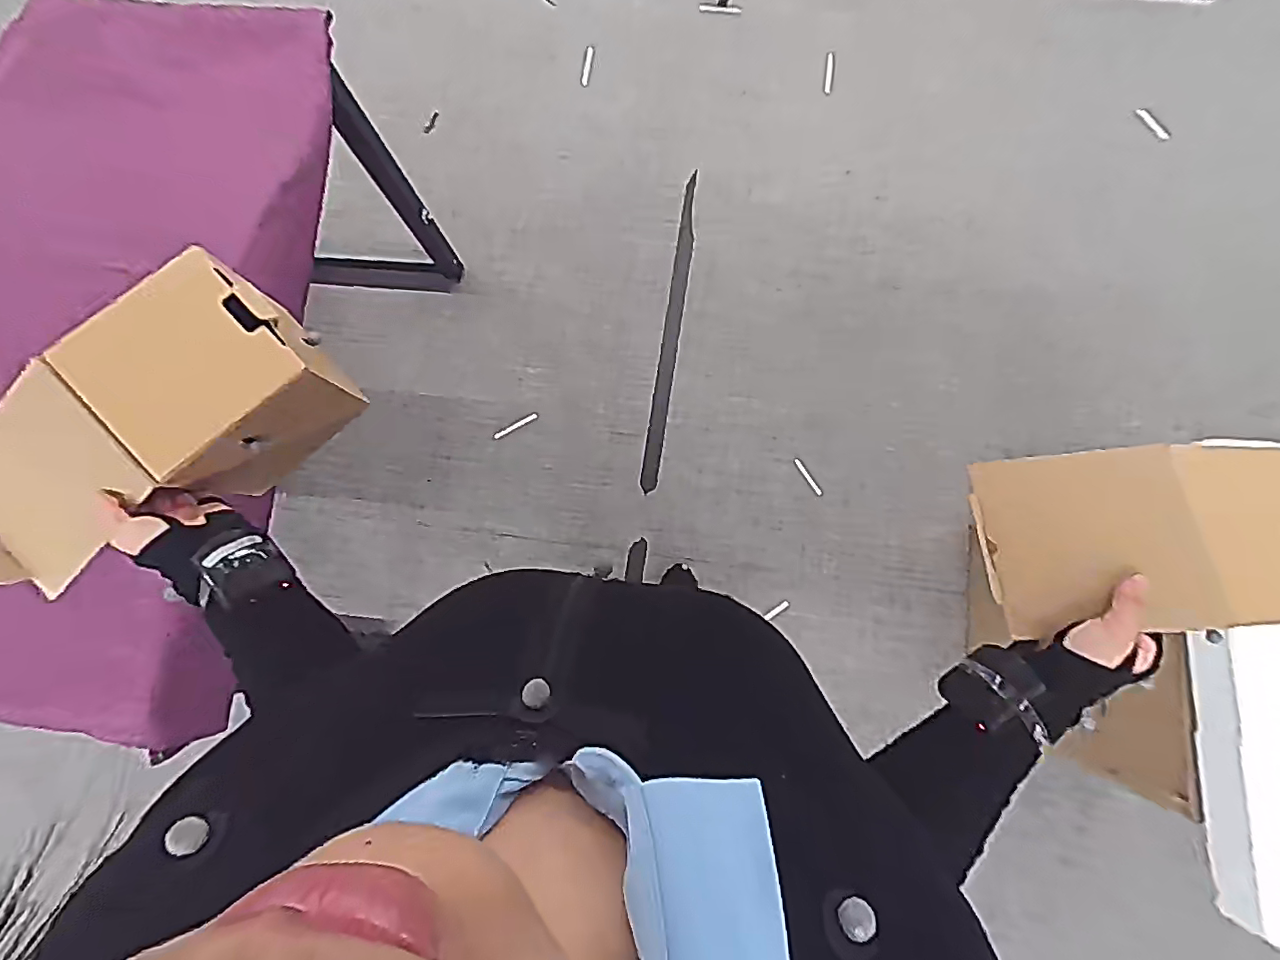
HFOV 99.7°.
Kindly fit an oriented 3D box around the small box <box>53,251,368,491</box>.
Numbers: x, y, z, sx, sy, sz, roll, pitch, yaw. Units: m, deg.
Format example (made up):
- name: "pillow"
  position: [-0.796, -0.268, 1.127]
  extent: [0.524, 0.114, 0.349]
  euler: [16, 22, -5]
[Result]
- name: "small box"
  position: [-0.448, -0.104, 0.600]
  extent: [0.179, 0.176, 0.168]
  euler: [-42, 90, -9]
